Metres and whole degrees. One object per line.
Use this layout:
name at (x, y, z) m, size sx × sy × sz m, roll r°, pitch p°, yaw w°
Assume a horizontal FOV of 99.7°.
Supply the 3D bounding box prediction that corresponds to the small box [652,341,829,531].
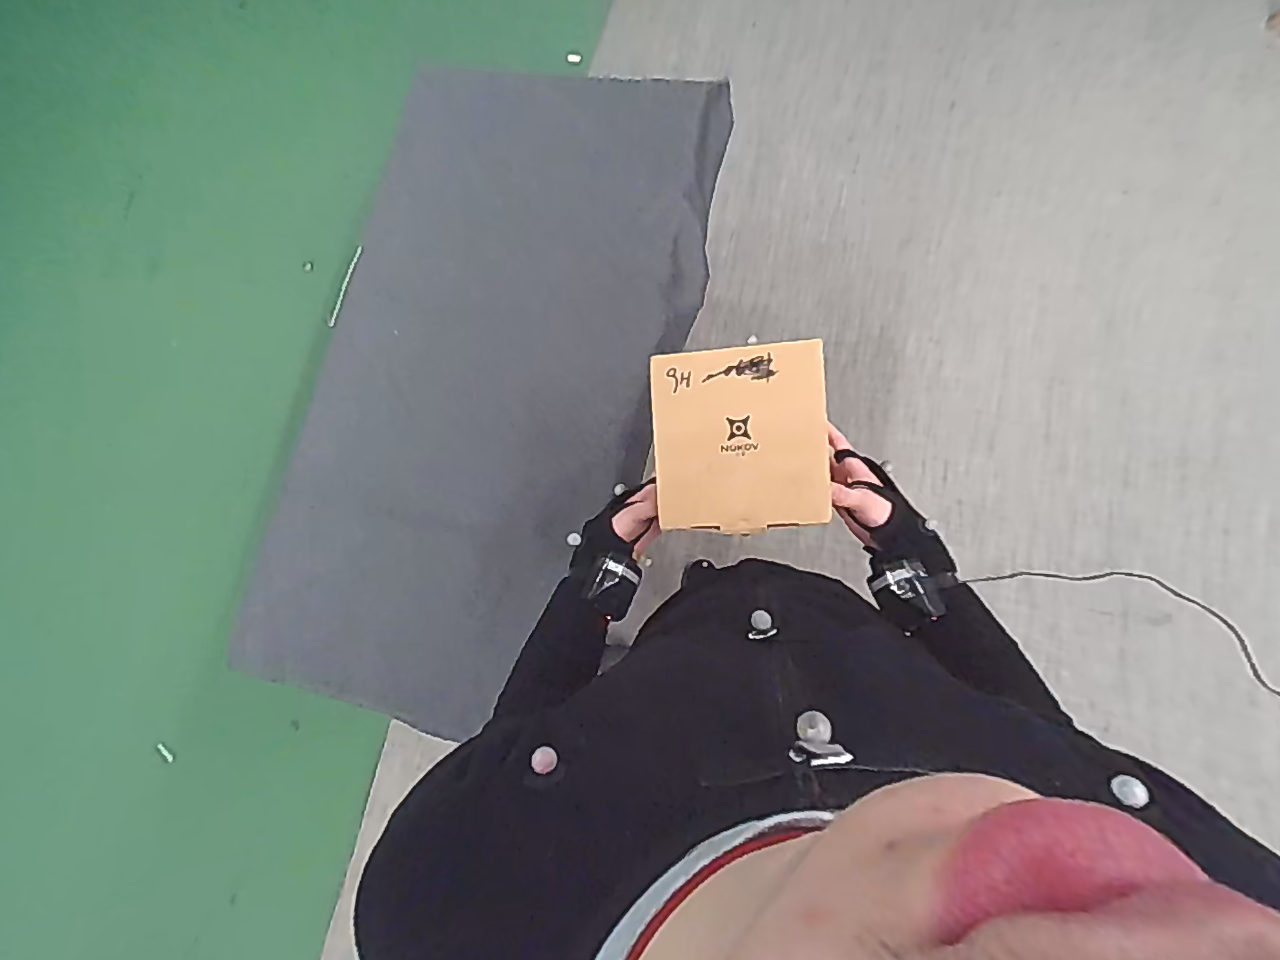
small box at (0.109, -0.043, 0.593) m, size 0.168 × 0.176 × 0.179 m, roll -3°, pitch 91°, yaw 10°
